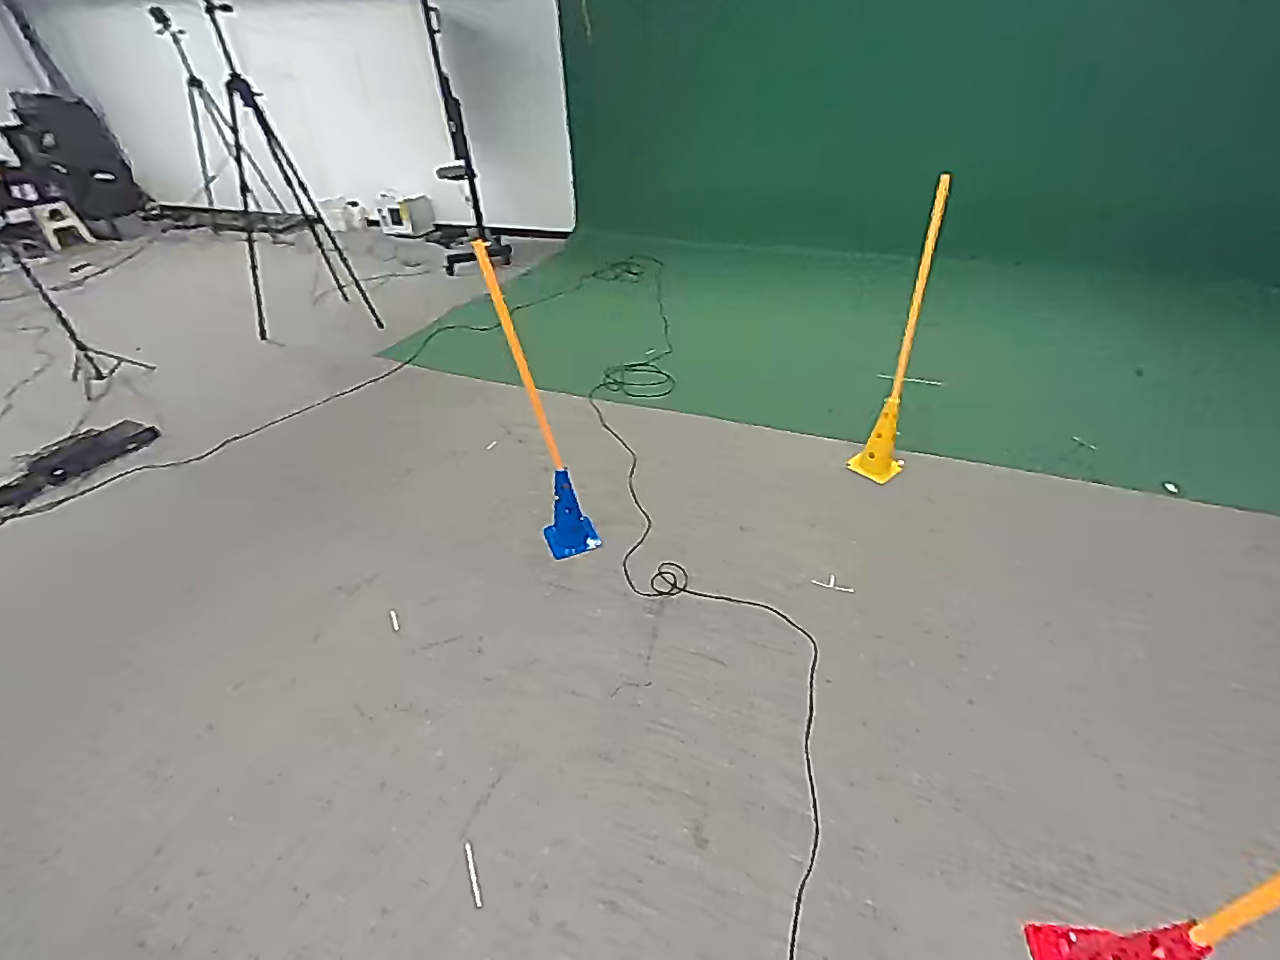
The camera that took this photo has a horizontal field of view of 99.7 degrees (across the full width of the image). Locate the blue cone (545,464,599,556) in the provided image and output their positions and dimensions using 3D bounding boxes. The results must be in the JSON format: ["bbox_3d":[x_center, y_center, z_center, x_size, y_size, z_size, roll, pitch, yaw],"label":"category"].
[{"bbox_3d":[-0.283,0.101,2.088,0.193,0.380,0.192,-18,41,-17],"label":"blue cone"}]
